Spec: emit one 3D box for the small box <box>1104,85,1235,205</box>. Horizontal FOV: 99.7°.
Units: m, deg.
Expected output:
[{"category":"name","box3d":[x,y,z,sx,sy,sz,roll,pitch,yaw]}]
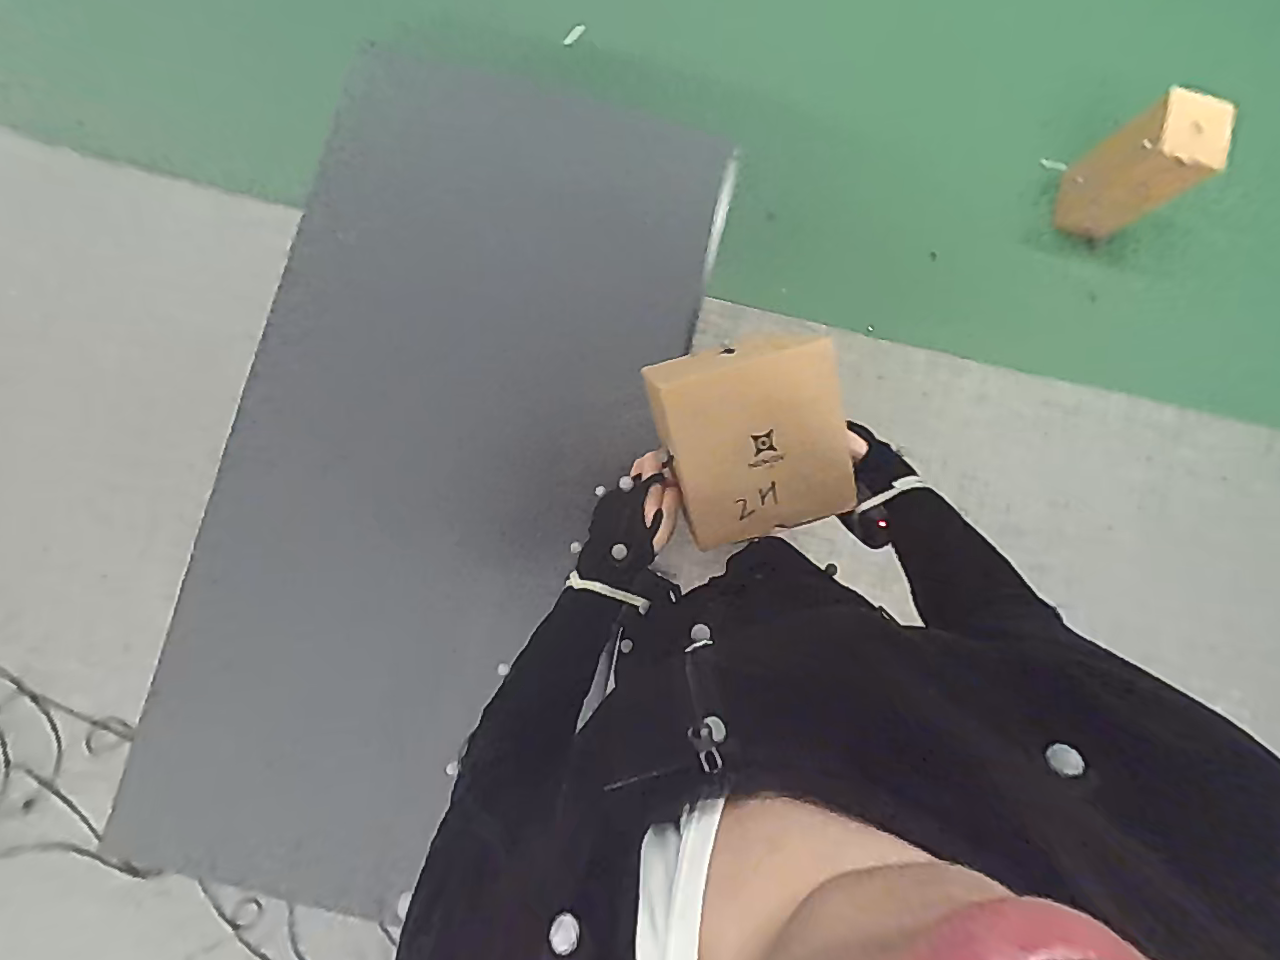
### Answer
[{"category":"small box","box3d":[1.340,-0.847,1.379,0.168,0.176,0.179,14,85,-1]}]
